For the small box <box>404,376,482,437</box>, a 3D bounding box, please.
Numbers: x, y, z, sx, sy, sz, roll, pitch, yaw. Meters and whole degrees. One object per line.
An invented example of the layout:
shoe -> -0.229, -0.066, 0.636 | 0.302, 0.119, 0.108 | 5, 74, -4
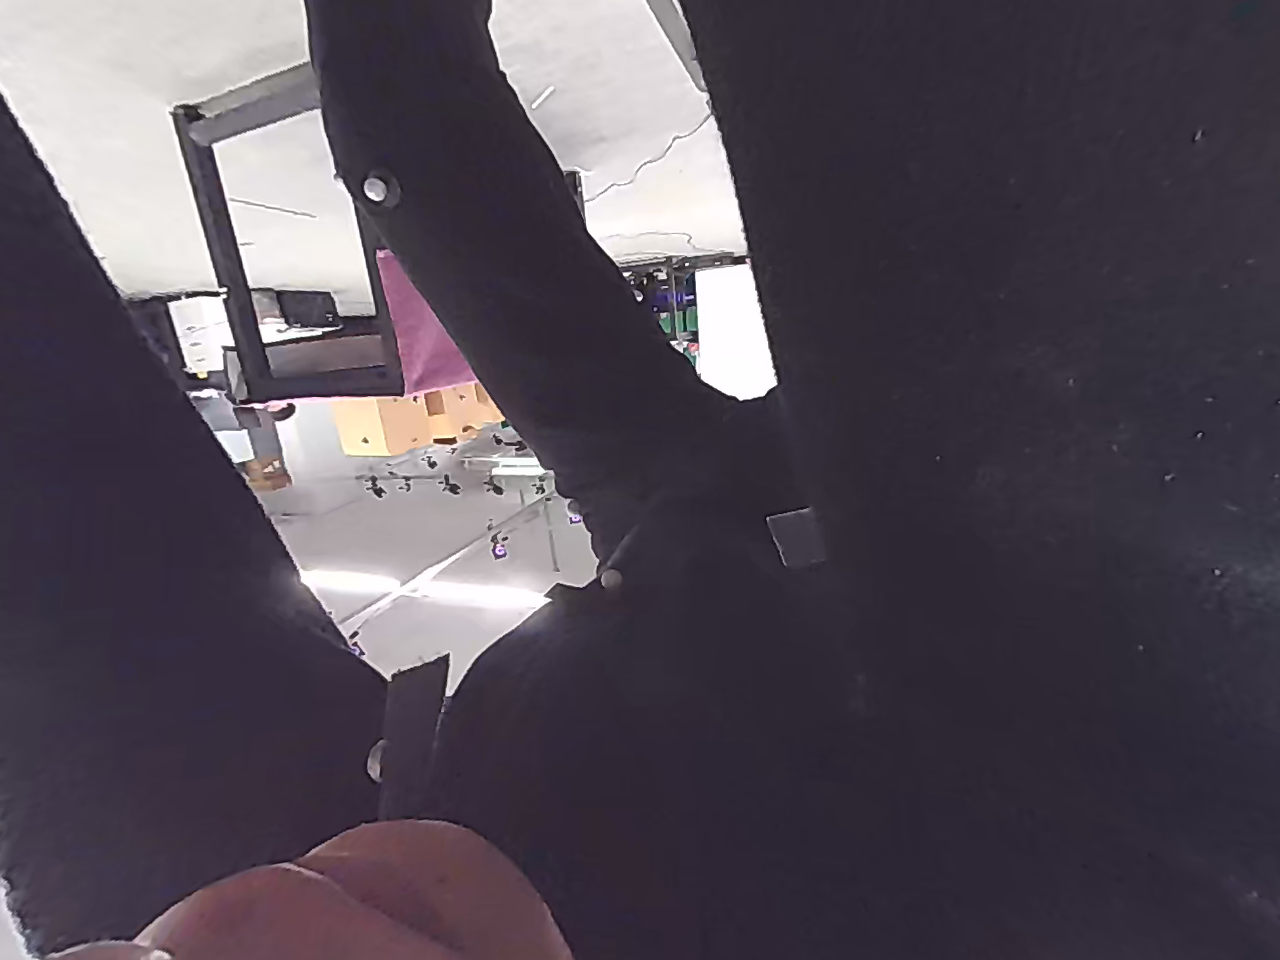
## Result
small box -> -0.628, -0.234, 1.712 | 0.179, 0.176, 0.168 | 0, -163, 19

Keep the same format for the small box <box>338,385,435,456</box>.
small box -> -0.714, -0.172, 1.519 | 0.179, 0.176, 0.168 | 3, -162, 25

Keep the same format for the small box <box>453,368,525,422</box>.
small box -> -0.541, -0.307, 1.931 | 0.179, 0.176, 0.168 | 3, -163, 28
